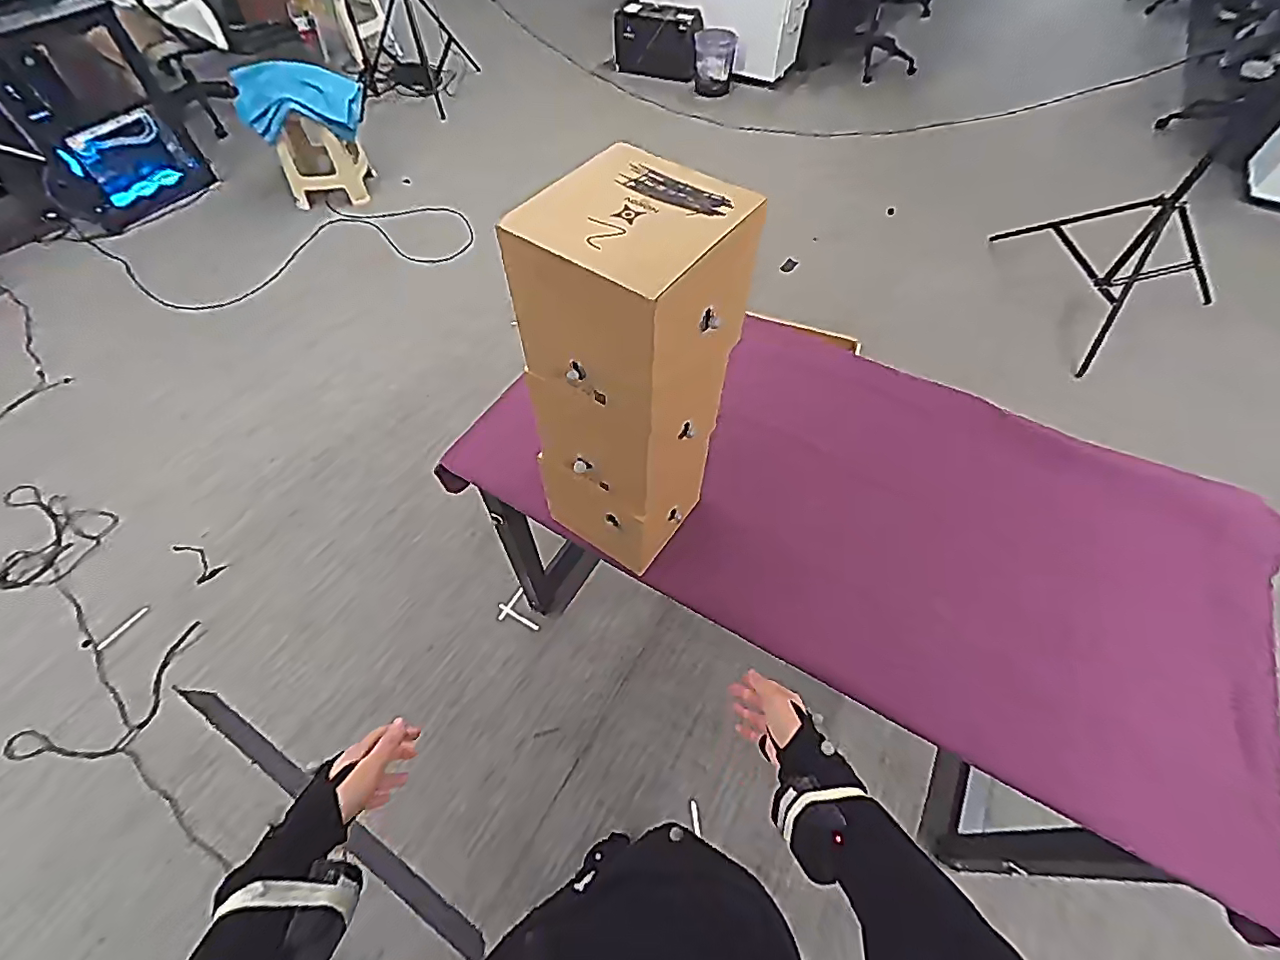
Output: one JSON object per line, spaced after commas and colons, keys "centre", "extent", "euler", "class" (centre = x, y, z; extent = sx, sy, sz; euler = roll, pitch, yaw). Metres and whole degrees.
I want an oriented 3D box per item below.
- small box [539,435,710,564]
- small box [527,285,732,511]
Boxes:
{"centre": [-0.020, 0.000, 0.795], "extent": [0.179, 0.176, 0.168], "euler": [30, 61, 19], "class": "small box"}
{"centre": [-0.011, -0.097, 0.663], "extent": [0.168, 0.176, 0.179], "euler": [30, 62, 18], "class": "small box"}
